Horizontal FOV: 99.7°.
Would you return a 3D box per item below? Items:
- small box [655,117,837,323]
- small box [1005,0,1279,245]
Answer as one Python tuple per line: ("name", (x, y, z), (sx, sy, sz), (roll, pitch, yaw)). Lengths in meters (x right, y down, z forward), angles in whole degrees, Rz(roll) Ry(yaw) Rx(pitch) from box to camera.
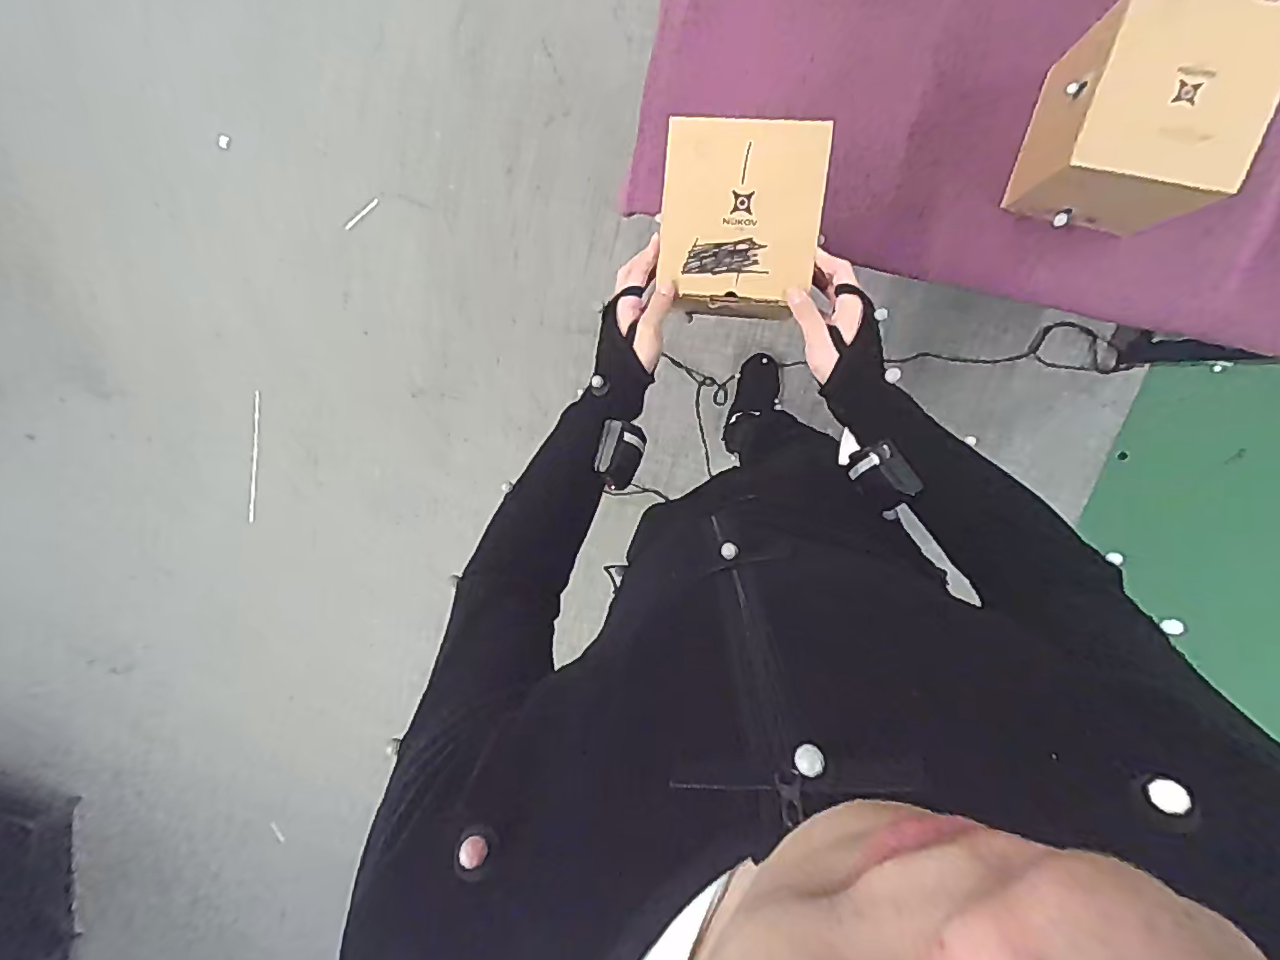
("small box", (0.115, -0.285, 0.631), (0.168, 0.176, 0.179), (7, 100, 6))
("small box", (0.569, -0.399, 0.629), (0.168, 0.176, 0.179), (16, 102, 7))
